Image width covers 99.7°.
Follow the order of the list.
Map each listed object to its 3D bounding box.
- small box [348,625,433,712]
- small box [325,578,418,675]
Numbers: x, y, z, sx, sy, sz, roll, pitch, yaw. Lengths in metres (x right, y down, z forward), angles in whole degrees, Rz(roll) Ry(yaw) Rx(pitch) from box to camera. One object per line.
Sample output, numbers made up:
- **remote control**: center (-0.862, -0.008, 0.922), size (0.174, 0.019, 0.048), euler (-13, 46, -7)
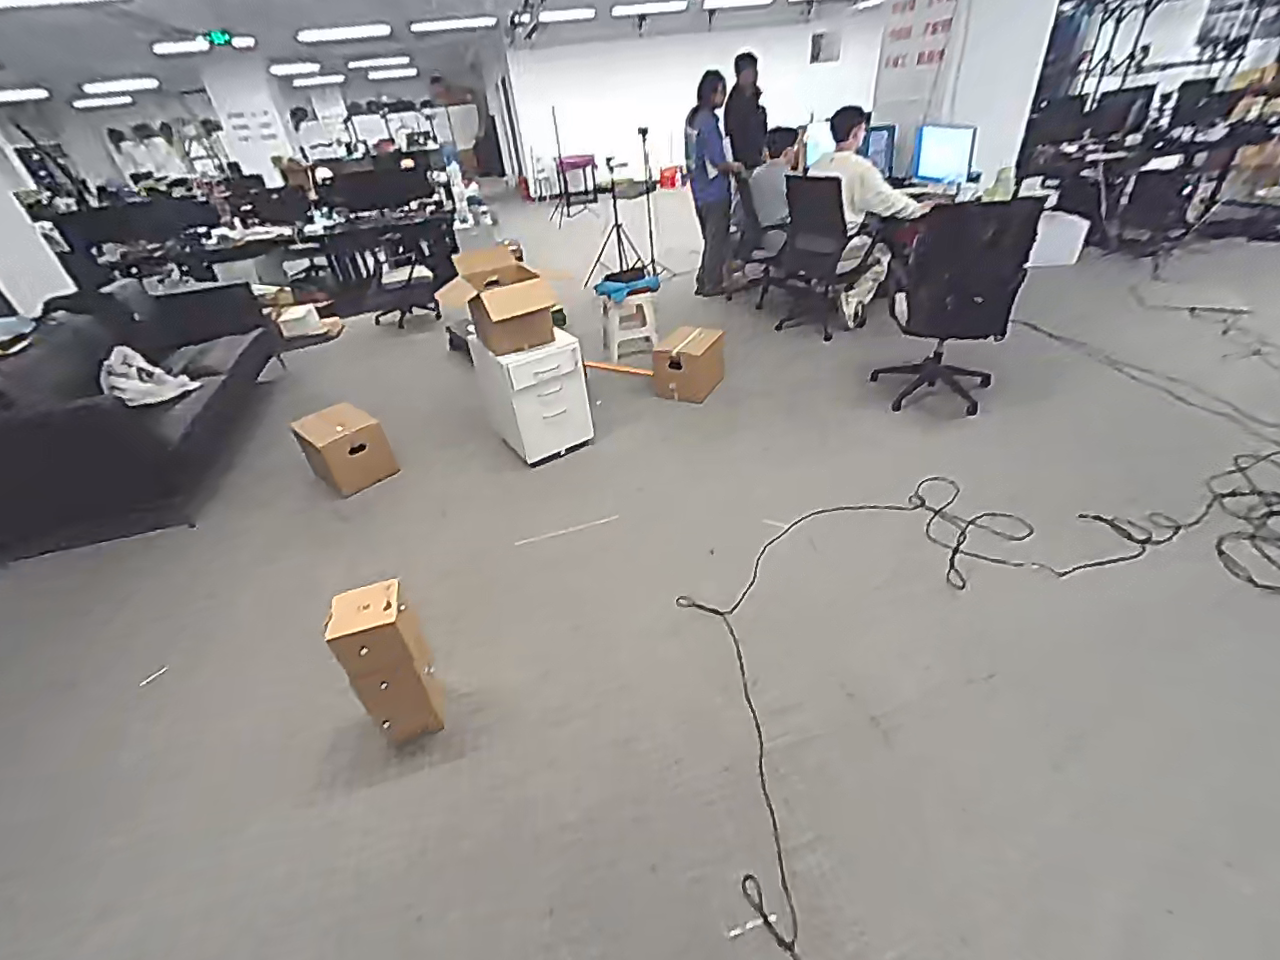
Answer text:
- **small box**: center (-0.720, 0.544, 1.576), size (0.179, 0.176, 0.168), euler (-13, 36, -12)
- **small box**: center (-0.730, 0.405, 1.489), size (0.179, 0.176, 0.168), euler (-15, 36, -11)
